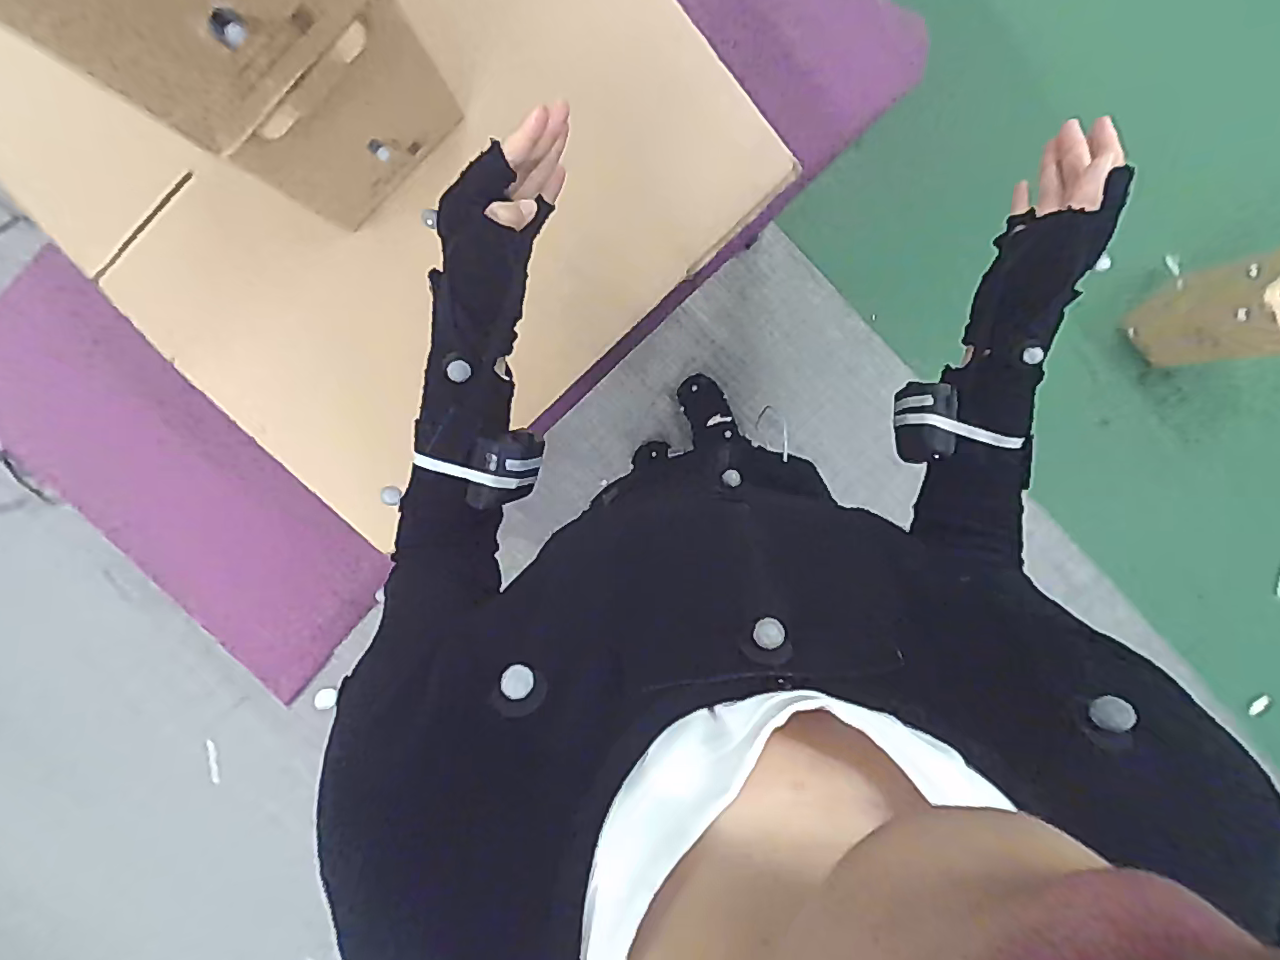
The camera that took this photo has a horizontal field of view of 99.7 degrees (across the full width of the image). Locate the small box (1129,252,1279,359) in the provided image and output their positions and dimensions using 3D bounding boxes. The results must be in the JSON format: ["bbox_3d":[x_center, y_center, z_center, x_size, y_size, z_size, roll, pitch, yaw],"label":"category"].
[{"bbox_3d":[1.365,-0.416,1.325,0.179,0.176,0.168,-43,95,5],"label":"small box"}]

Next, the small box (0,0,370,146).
[{"bbox_3d":[-0.289,-0.328,0.282,0.168,0.176,0.179,-44,94,6],"label":"small box"}]

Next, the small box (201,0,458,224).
[{"bbox_3d":[-0.288,-0.352,0.444,0.168,0.176,0.179,-42,94,6],"label":"small box"}]
